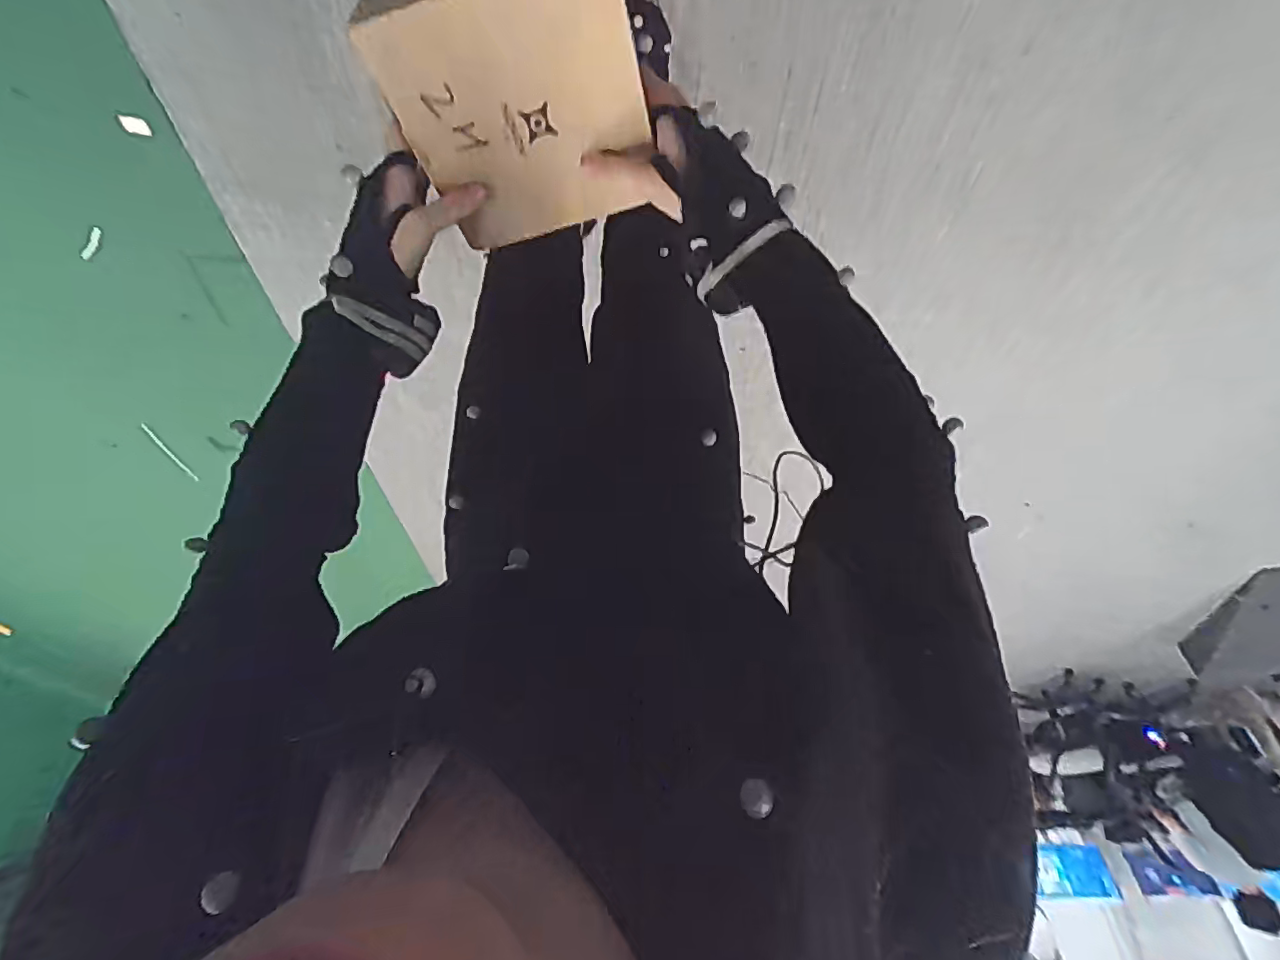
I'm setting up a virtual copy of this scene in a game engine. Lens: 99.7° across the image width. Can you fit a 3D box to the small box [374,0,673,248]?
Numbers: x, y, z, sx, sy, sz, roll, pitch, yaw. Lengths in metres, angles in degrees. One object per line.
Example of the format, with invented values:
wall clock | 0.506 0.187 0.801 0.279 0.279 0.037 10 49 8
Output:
small box | -0.082 -0.332 0.444 0.179 0.176 0.168 -12 147 8
